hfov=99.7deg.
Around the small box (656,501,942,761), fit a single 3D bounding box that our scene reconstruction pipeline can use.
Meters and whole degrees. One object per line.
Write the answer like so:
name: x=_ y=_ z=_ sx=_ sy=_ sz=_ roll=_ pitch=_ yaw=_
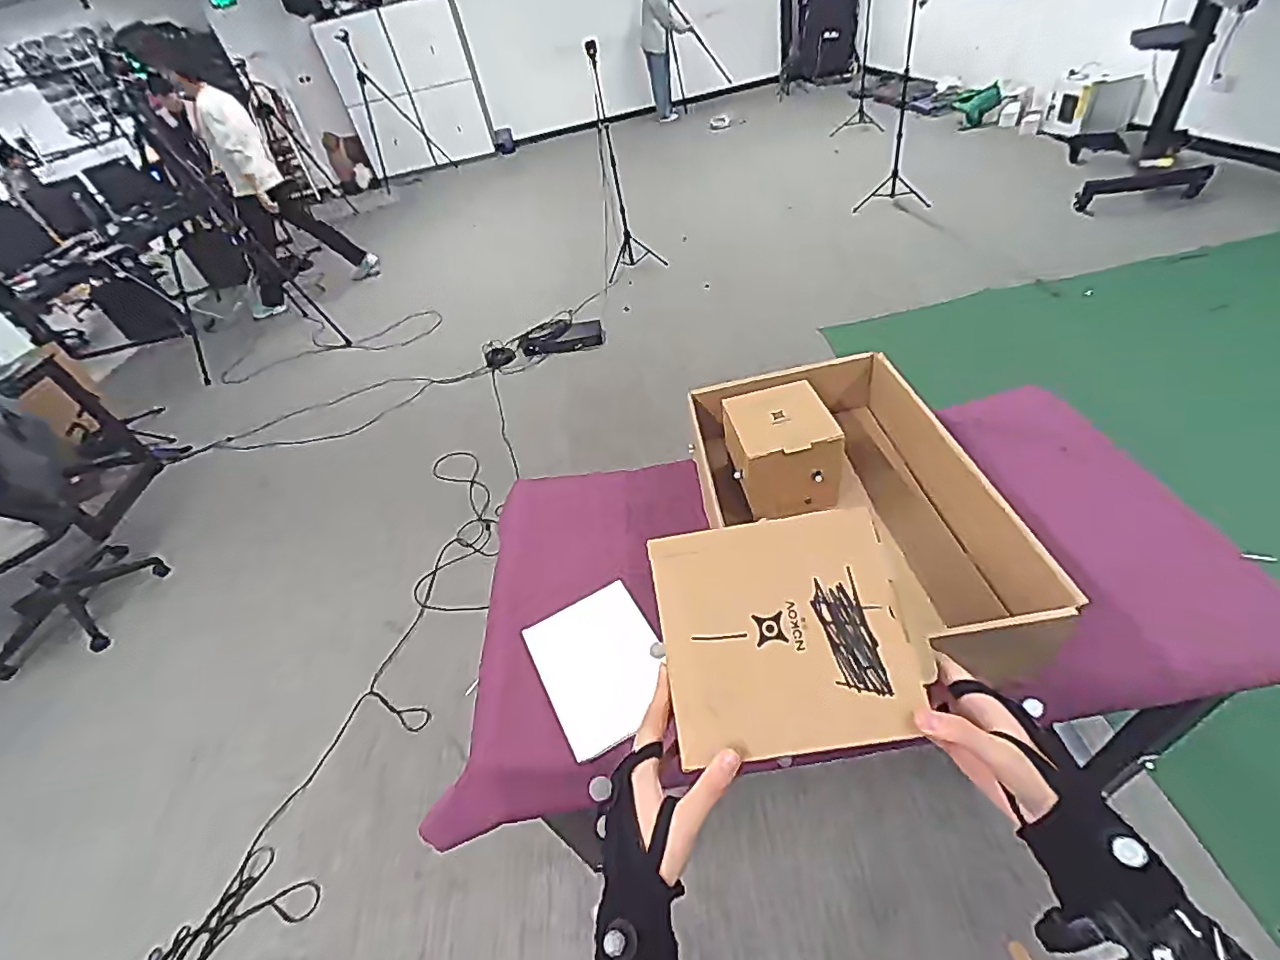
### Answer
small box: x=0.113 y=0.130 z=0.464 sx=0.179 sy=0.176 sz=0.168 roll=-9 pitch=68 yaw=2
